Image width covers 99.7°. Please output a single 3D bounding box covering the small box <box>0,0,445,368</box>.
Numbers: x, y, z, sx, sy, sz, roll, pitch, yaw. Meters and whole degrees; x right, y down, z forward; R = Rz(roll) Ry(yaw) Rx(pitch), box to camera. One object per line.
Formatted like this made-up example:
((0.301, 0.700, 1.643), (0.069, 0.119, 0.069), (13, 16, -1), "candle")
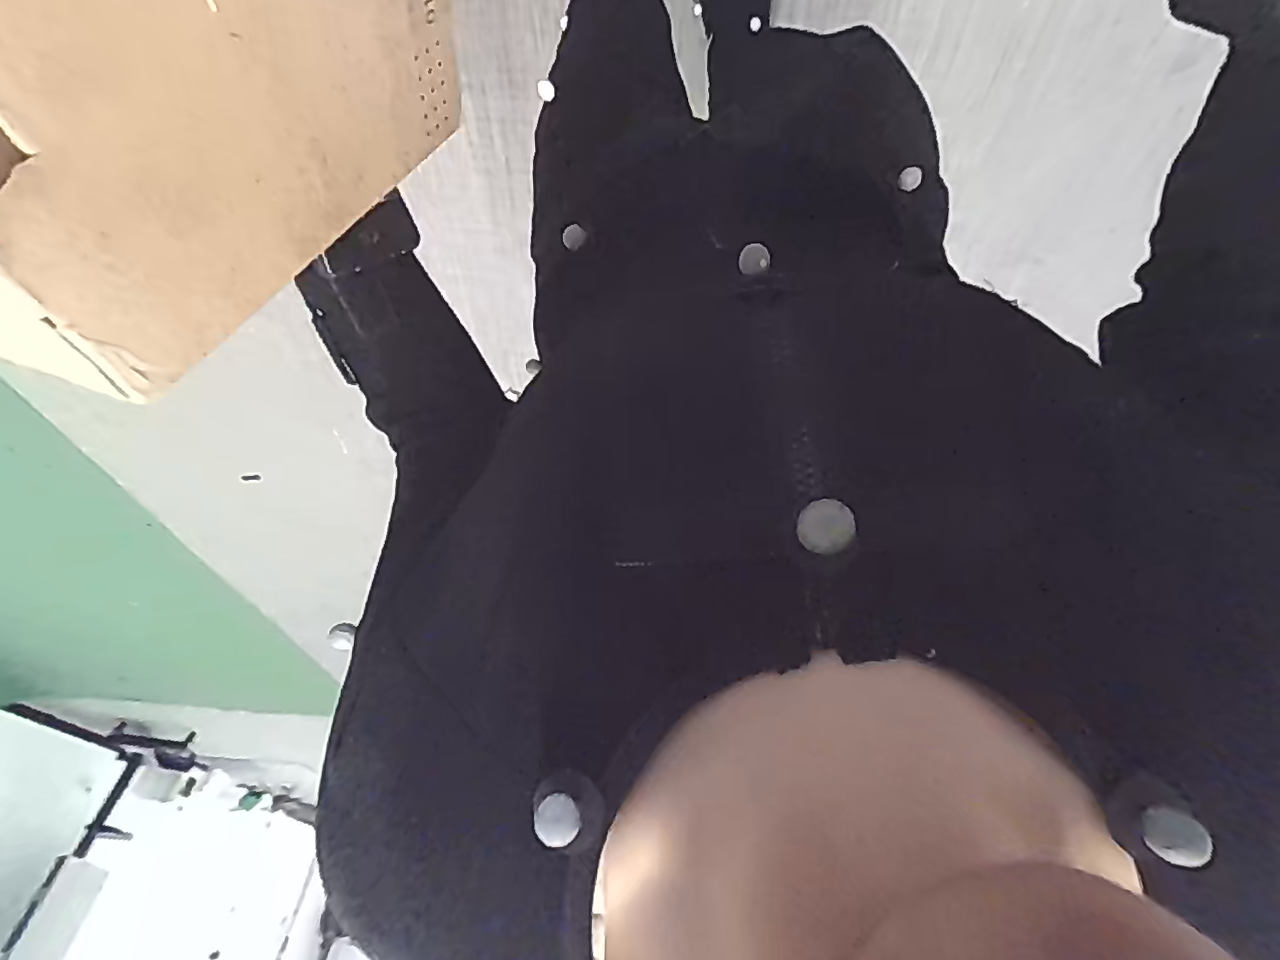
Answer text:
((-0.161, -0.164, 0.120), (0.179, 0.176, 0.168), (24, 150, 0), "small box")
